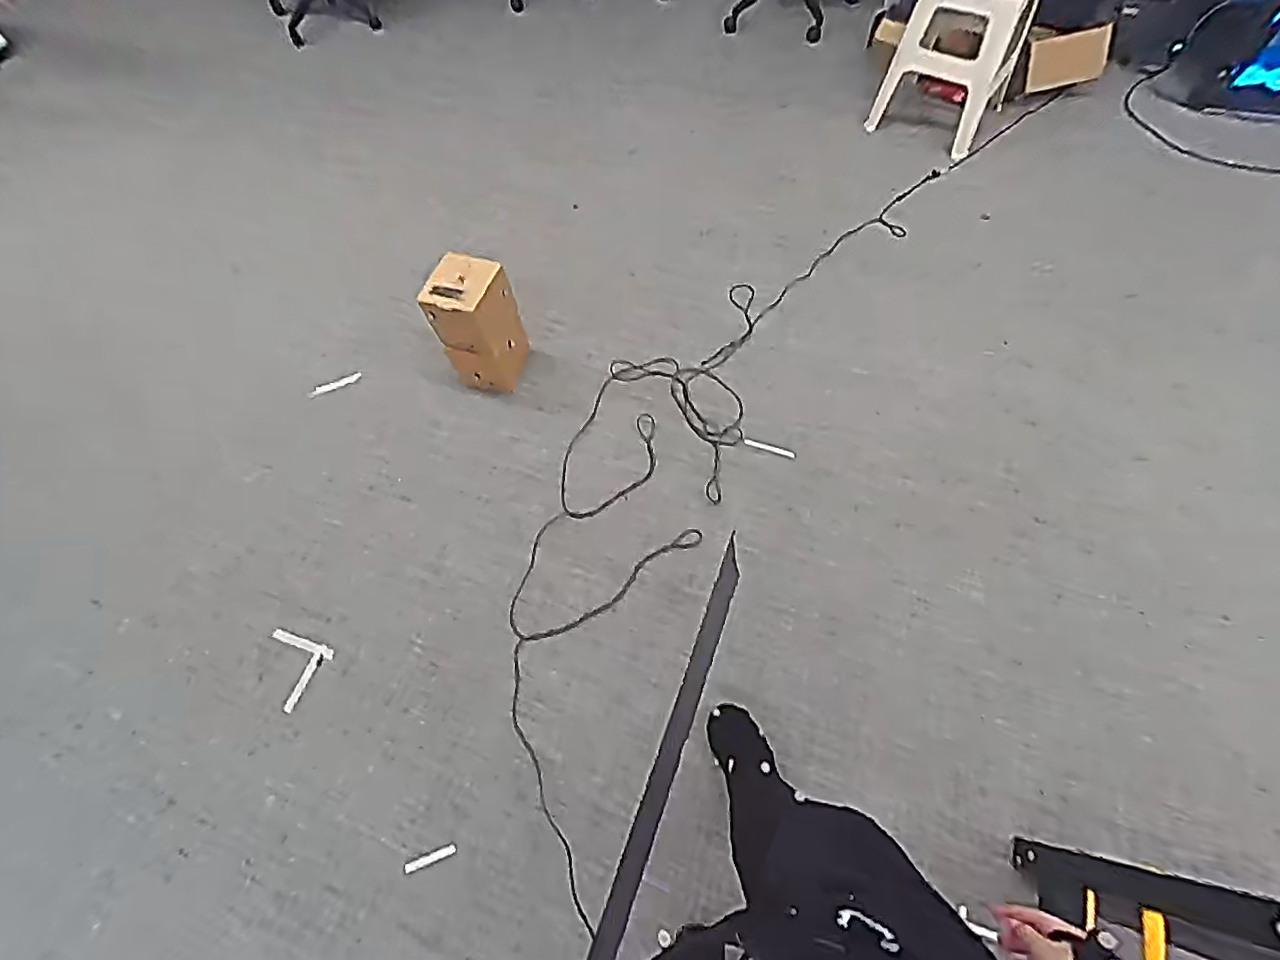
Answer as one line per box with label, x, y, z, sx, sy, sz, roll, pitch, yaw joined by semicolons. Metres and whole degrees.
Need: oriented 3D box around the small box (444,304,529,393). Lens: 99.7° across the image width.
small box;-0.441;-0.384;1.592;0.168;0.176;0.179;11;65;10
